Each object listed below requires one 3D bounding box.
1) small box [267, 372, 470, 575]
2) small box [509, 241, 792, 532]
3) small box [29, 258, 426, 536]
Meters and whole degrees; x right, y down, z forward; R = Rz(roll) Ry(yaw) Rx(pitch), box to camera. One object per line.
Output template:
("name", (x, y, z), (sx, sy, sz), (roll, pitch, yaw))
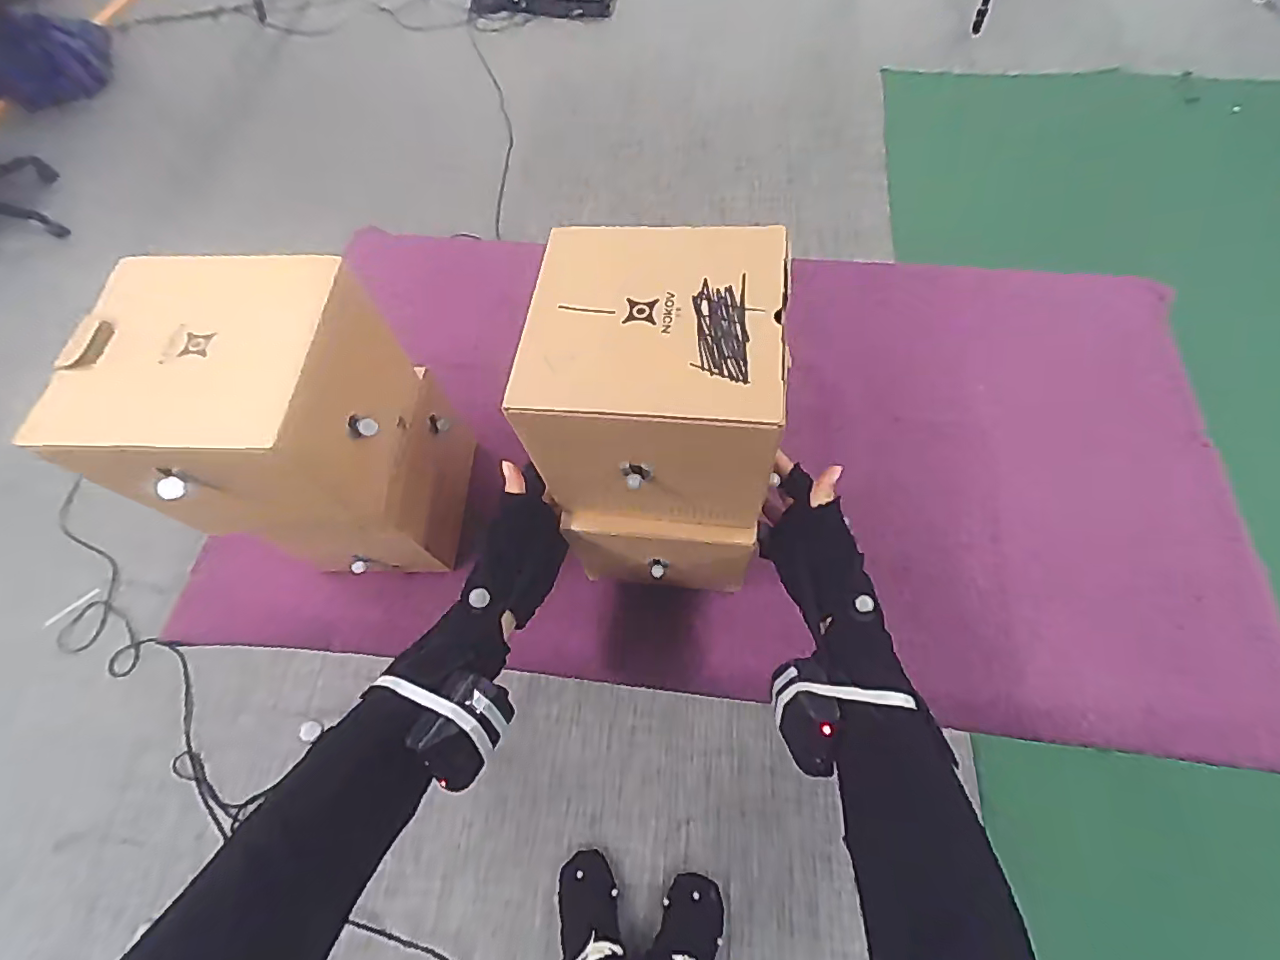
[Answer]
("small box", (-0.302, -0.004, 0.605), (0.168, 0.176, 0.179), (2, 65, 2))
("small box", (0.019, -0.066, 0.441), (0.179, 0.176, 0.168), (5, 64, 9))
("small box", (-0.303, -0.057, 0.451), (0.179, 0.176, 0.168), (2, 65, 2))
